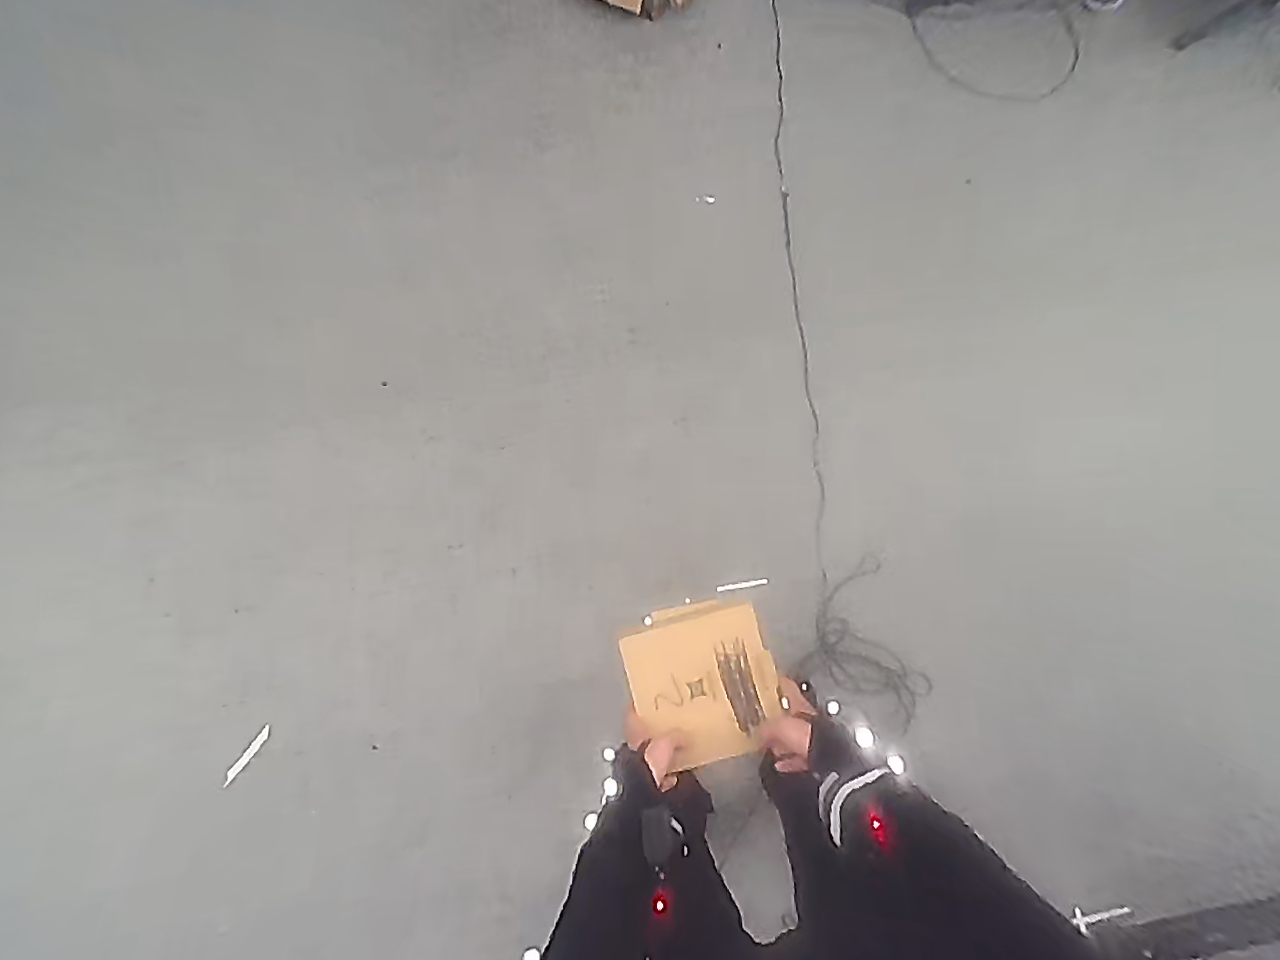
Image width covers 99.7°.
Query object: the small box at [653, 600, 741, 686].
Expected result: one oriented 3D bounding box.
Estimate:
[{"bbox_3d":[0.134,0.395,1.318,0.179,0.176,0.168,-12,75,-1],"label":"small box"}]
